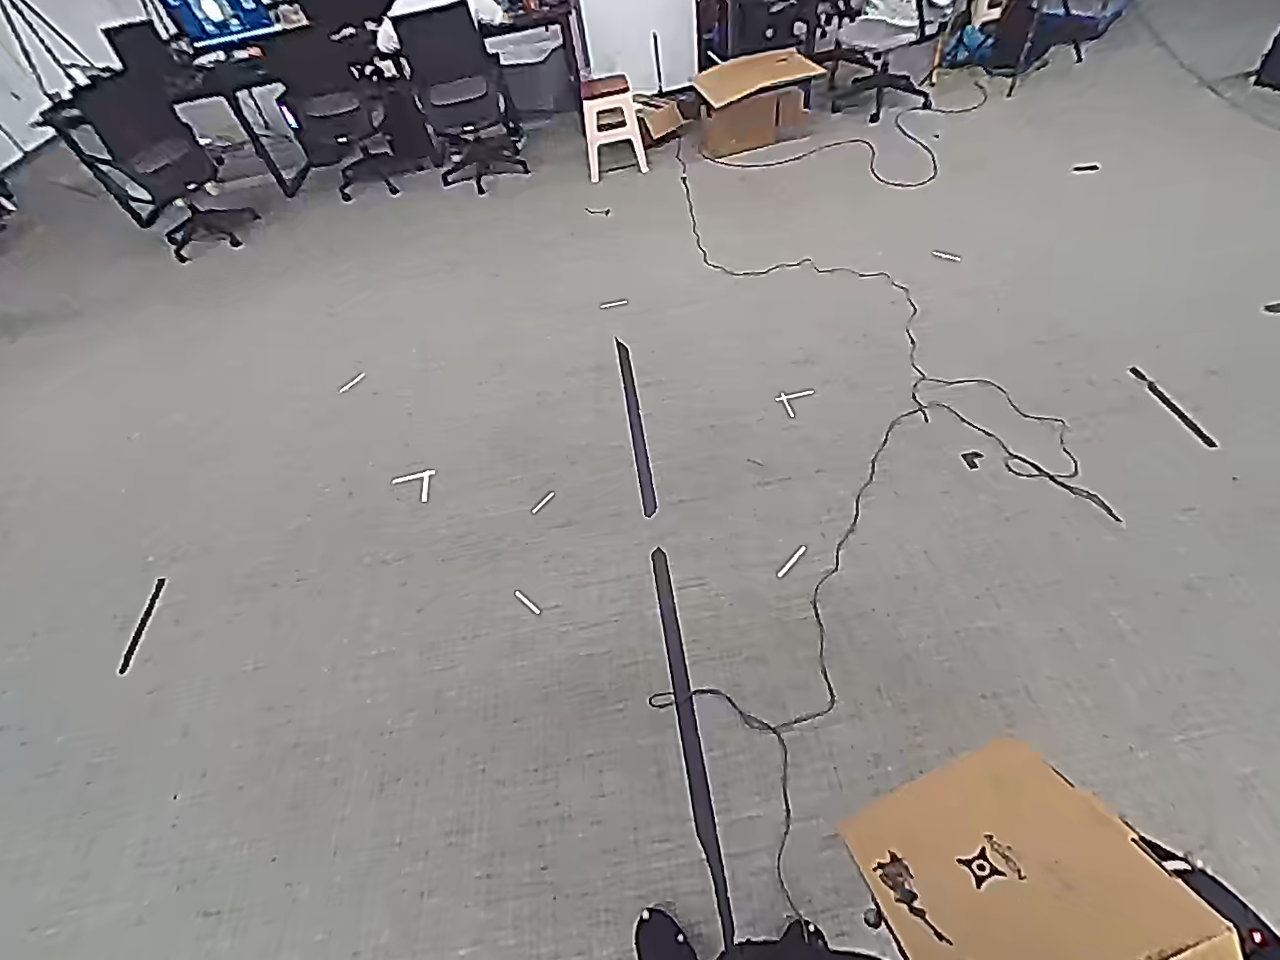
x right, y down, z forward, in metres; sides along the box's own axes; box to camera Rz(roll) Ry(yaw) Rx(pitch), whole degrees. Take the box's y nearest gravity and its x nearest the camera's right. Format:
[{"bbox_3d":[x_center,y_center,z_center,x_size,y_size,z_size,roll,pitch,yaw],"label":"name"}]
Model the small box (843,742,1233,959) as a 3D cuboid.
[{"bbox_3d":[0.297,0.355,0.419,0.179,0.176,0.168,-27,14,1],"label":"small box"}]
